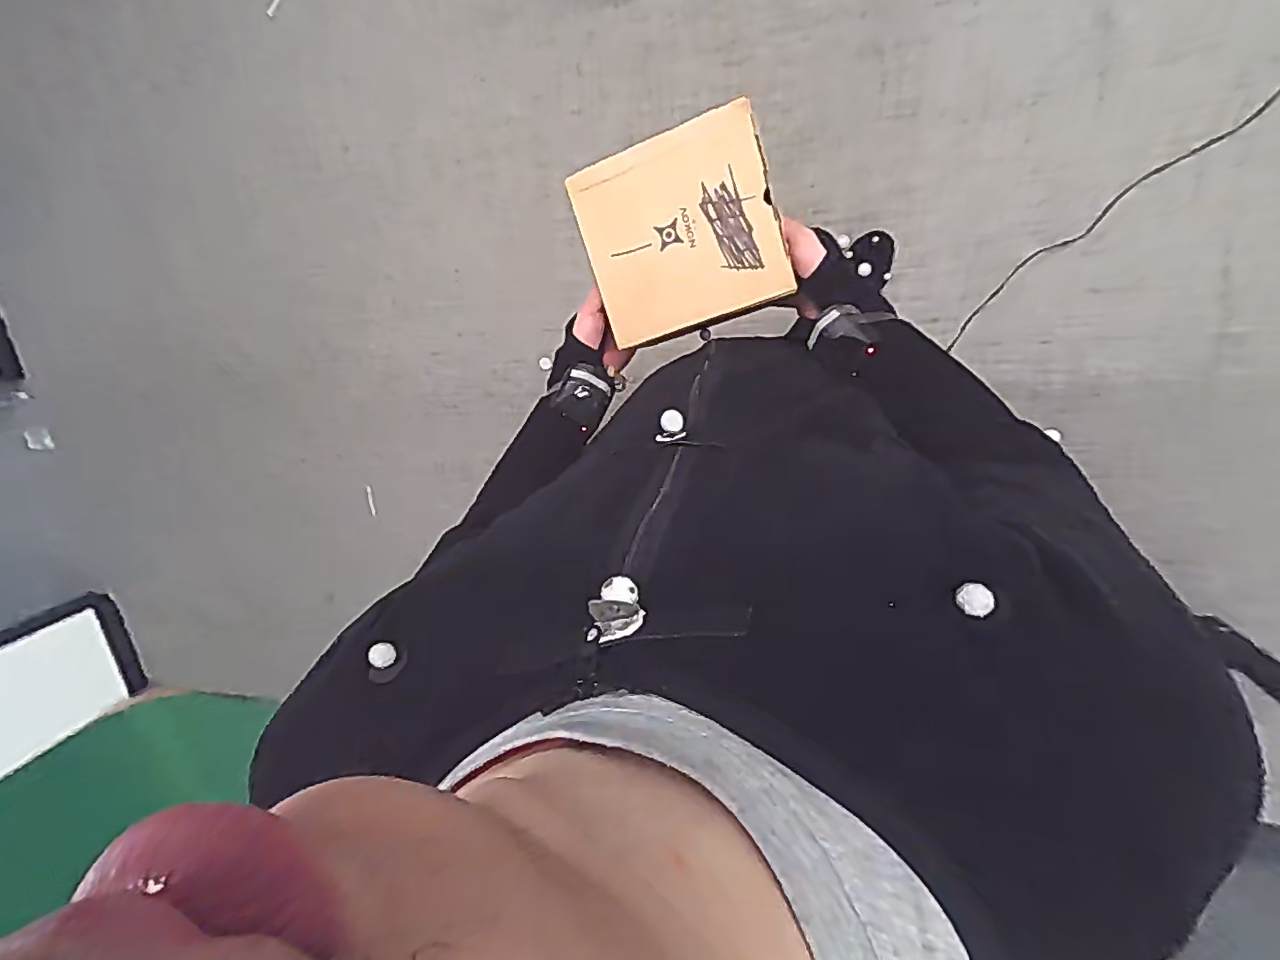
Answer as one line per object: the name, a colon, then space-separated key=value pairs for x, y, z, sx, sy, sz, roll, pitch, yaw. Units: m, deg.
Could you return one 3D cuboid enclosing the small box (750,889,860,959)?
small box: x=0.292 y=0.879 z=0.963 sx=0.179 sy=0.176 sz=0.168 roll=6 pitch=109 yaw=12
